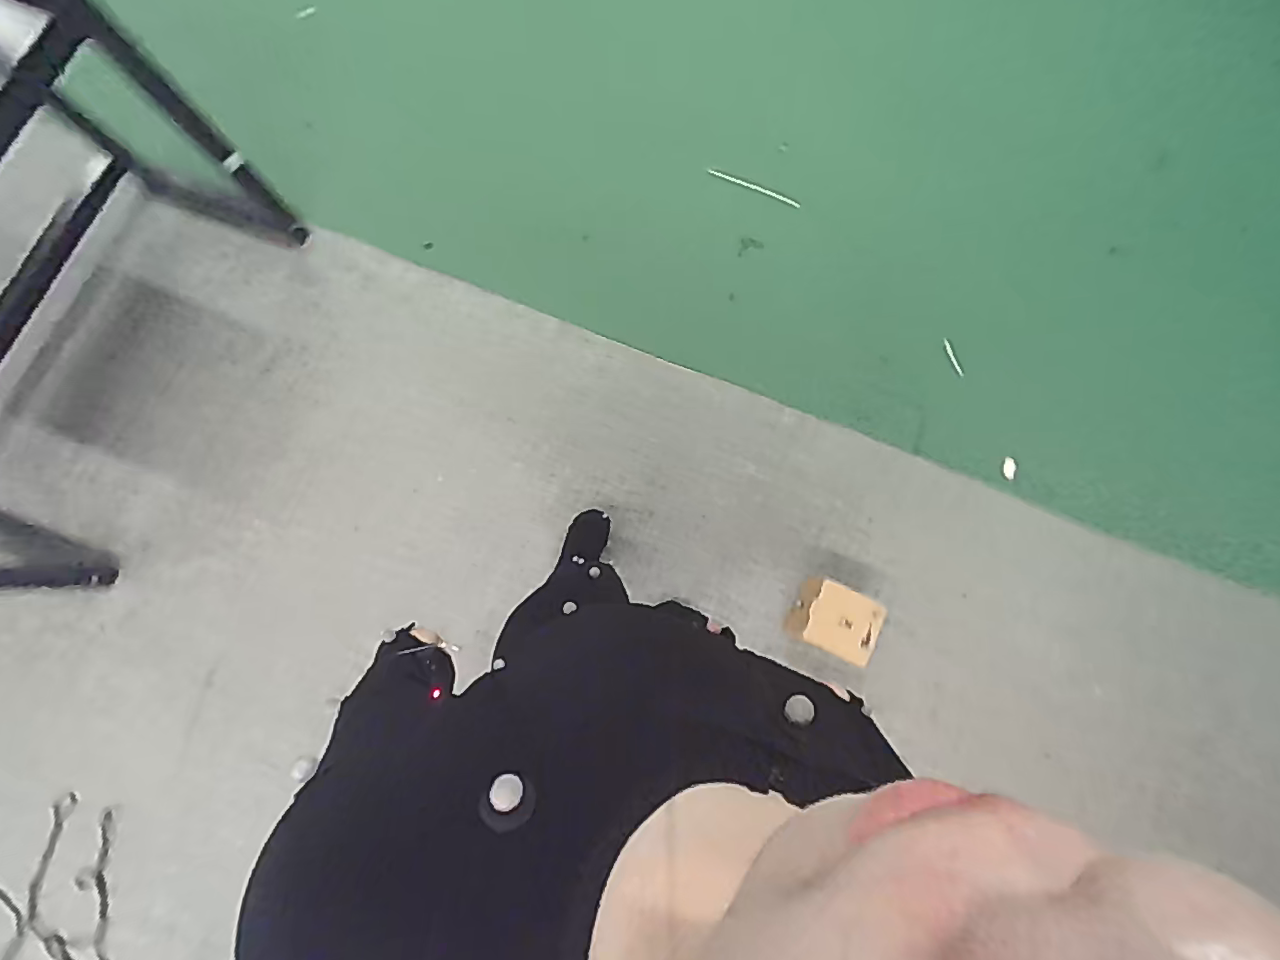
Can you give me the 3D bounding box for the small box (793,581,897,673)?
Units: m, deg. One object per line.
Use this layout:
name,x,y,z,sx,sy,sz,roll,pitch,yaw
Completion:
small box,0.523,0.378,1.409,0.179,0.176,0.168,26,81,5
